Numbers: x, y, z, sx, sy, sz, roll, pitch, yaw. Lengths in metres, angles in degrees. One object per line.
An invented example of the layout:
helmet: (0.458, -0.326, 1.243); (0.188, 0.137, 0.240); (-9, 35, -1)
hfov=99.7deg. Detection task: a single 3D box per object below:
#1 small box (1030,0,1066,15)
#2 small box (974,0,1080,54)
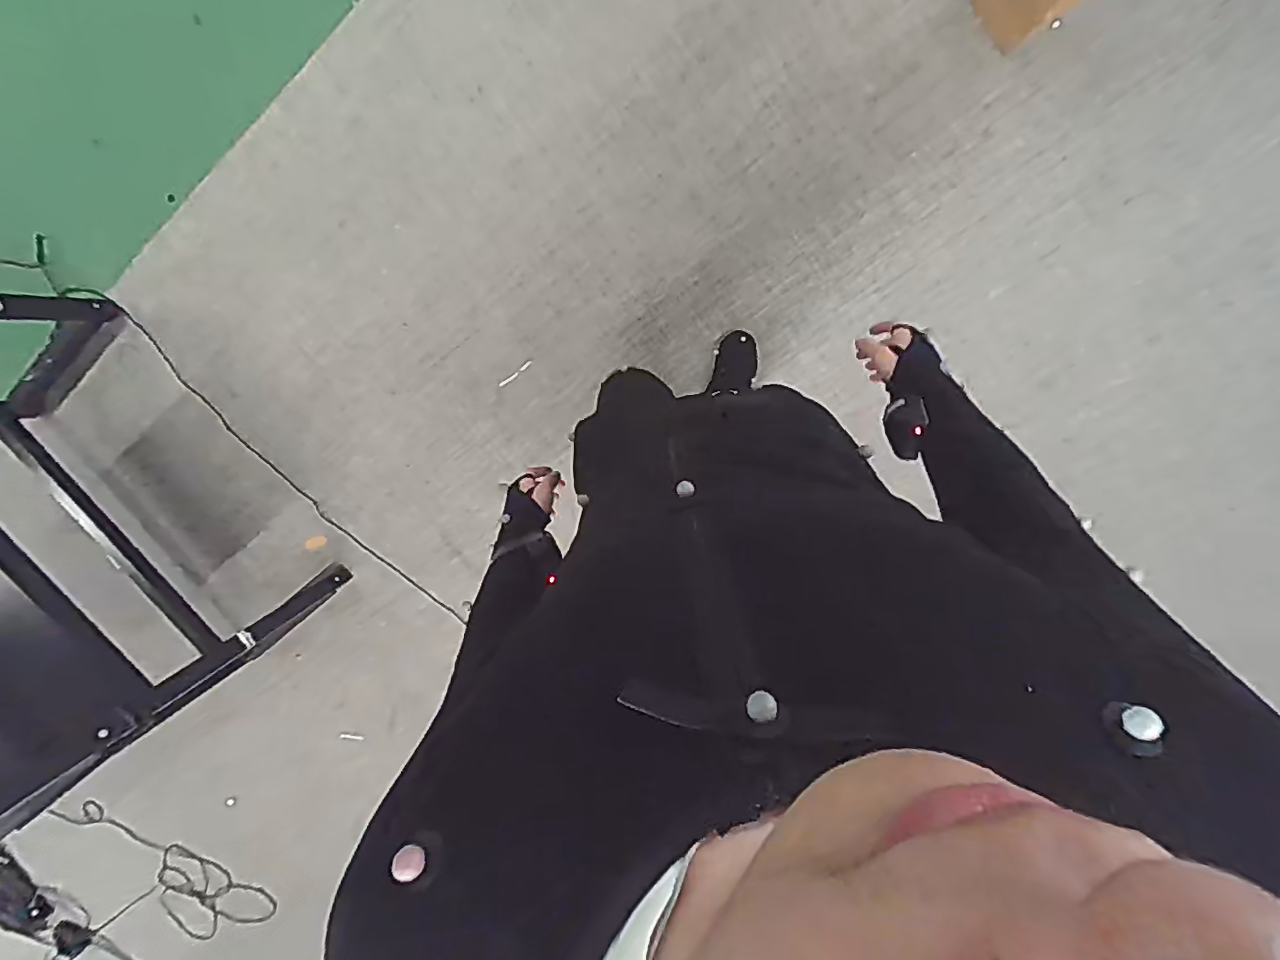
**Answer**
small box: (0.837, -1.041, 1.010); (0.179, 0.176, 0.168); (-32, 98, 14)
small box: (0.861, -1.086, 1.166); (0.168, 0.176, 0.179); (-33, 98, 15)
